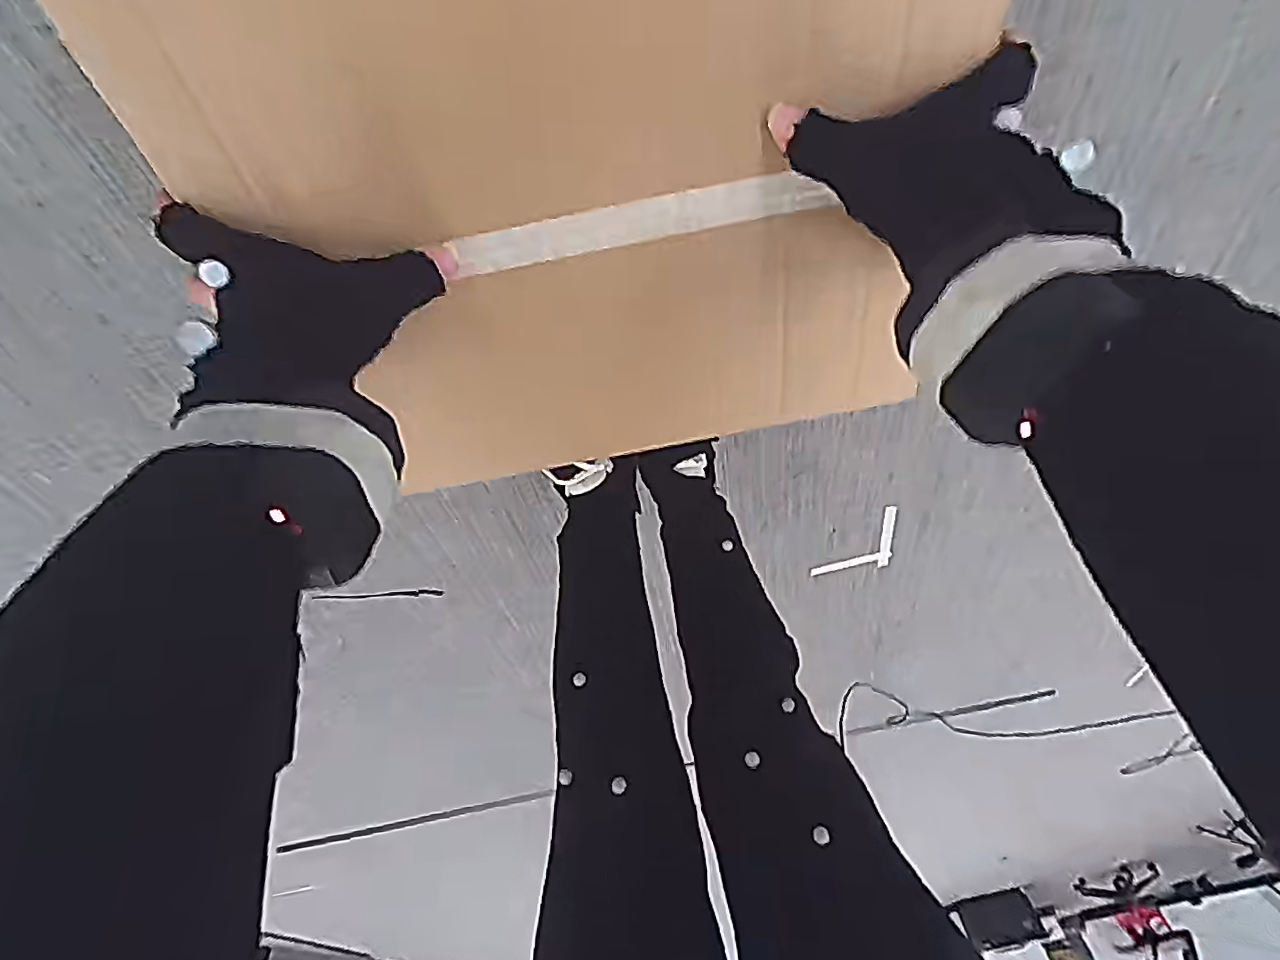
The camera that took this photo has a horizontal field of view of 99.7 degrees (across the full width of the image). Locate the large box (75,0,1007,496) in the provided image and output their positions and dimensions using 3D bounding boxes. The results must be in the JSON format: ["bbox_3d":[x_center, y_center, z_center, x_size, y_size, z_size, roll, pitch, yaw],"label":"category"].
[{"bbox_3d":[-0.033,-0.233,0.413,0.408,0.320,0.320,-11,133,0],"label":"large box"}]
